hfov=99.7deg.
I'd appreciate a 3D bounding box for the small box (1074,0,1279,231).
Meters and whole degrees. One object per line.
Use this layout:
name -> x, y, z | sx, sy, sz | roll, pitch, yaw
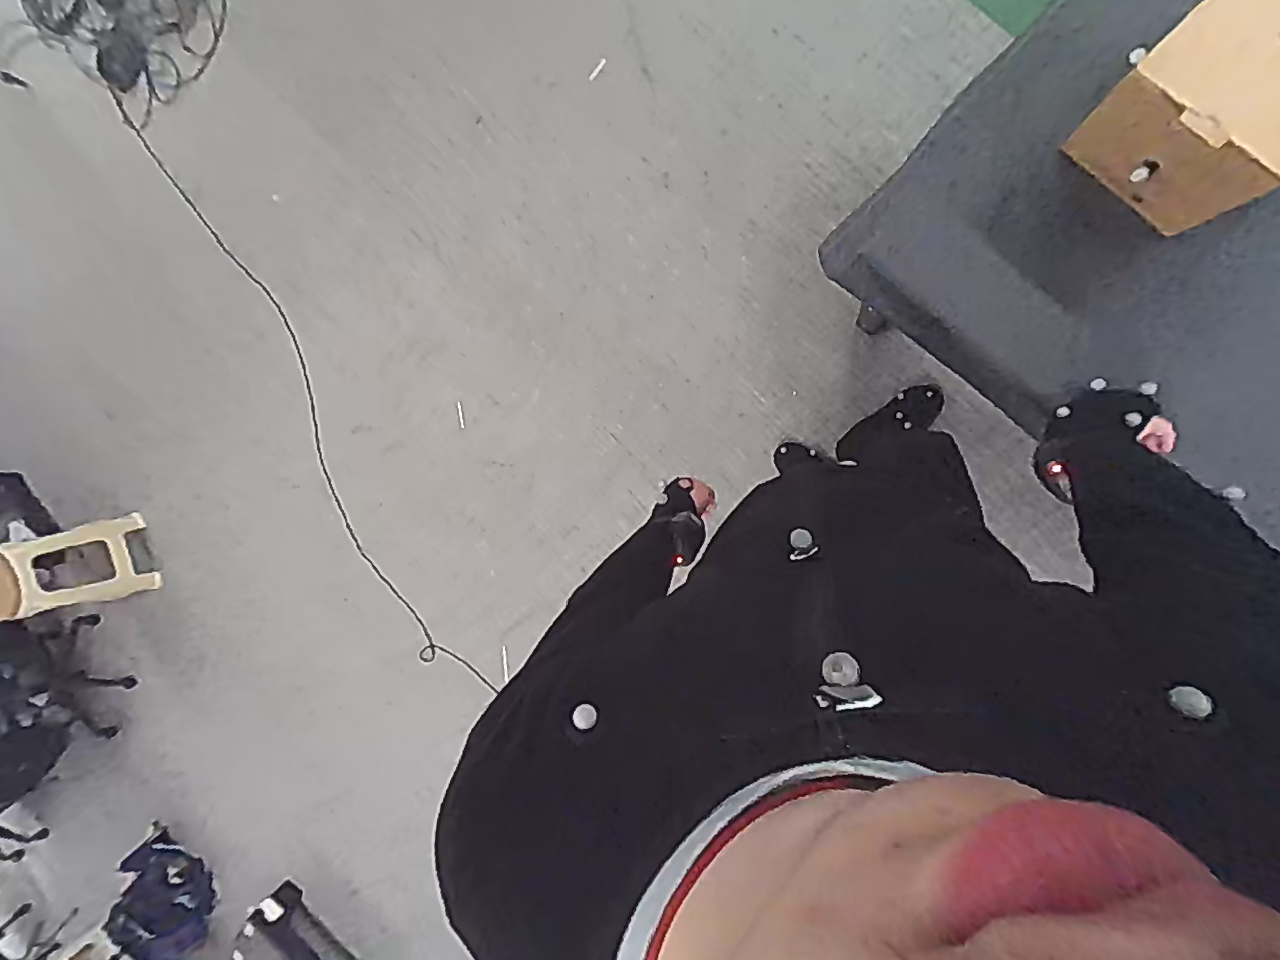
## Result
small box -> 0.582, -0.383, 0.534 | 0.168, 0.176, 0.179 | 47, 110, 6
